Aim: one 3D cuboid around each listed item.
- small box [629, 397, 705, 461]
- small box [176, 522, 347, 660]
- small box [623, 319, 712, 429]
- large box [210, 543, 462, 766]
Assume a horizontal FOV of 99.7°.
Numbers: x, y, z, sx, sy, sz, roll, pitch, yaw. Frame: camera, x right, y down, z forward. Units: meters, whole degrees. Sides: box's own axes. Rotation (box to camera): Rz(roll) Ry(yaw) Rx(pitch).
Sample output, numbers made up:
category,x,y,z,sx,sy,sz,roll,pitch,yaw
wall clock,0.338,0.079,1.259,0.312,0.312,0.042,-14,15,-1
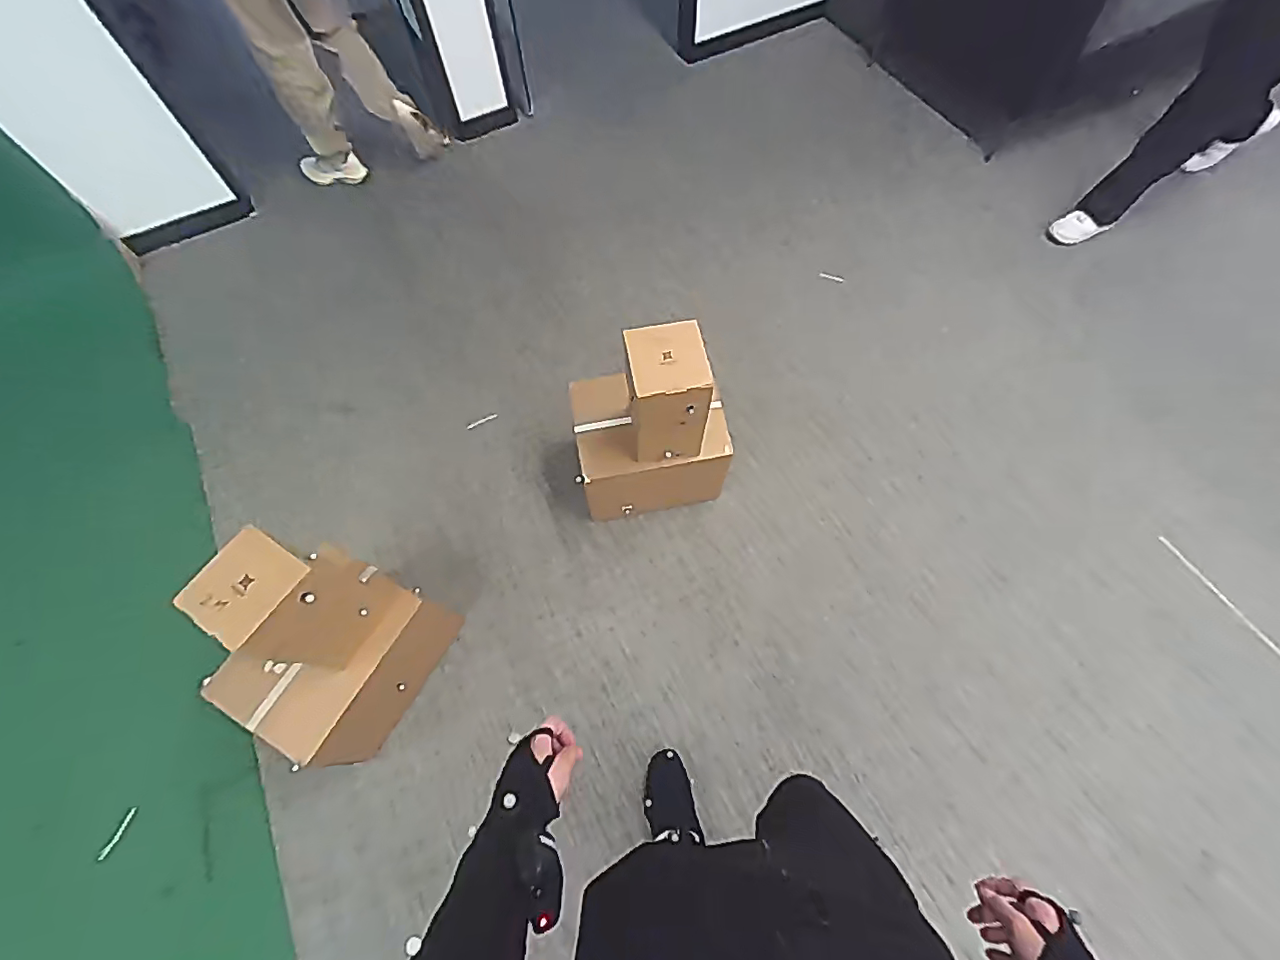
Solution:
category,x,y,z,sx,sy,sz,roll,pitch,yaw
small box,0.062,-0.167,1.360,0.168,0.176,0.179,-8,67,-2
small box,-0.690,0.214,1.017,0.168,0.176,0.179,30,69,14
small box,0.058,-0.227,1.208,0.168,0.176,0.179,-9,66,-4
large box,-0.728,0.435,1.369,0.320,0.320,0.408,25,69,13
